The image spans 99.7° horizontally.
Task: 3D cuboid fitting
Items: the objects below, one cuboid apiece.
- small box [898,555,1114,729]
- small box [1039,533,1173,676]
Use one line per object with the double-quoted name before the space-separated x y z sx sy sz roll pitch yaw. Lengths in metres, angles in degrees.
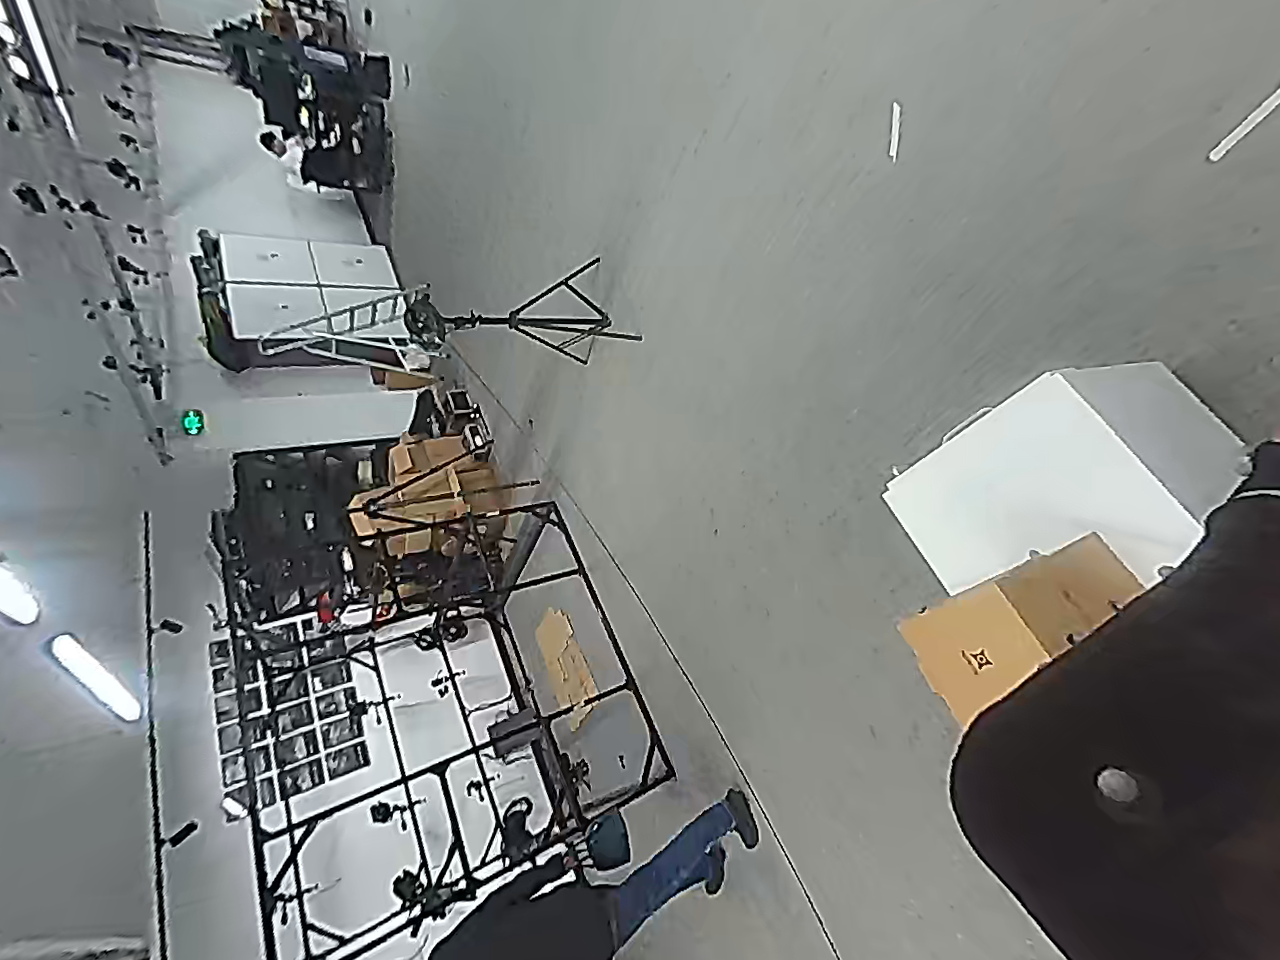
"small box" 0.525 0.227 0.776 0.168 0.176 0.179 64 145 23
"small box" 0.669 0.205 0.850 0.179 0.176 0.168 64 144 24
